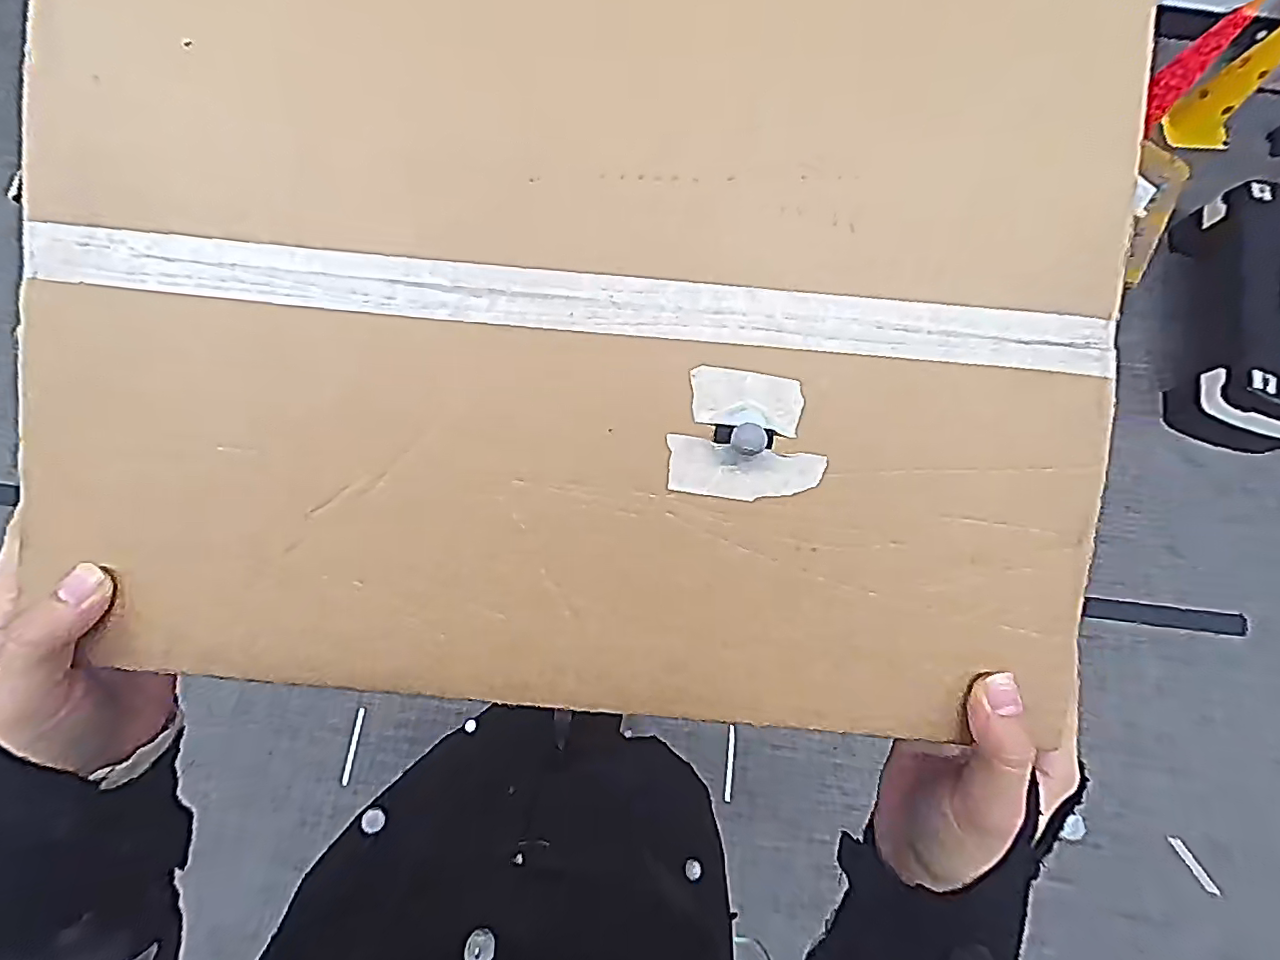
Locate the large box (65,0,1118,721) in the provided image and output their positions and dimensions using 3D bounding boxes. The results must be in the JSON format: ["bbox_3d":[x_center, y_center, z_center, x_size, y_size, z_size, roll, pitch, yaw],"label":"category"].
[{"bbox_3d":[-0.023,-0.071,0.363,0.408,0.320,0.320,5,93,-1],"label":"large box"}]
